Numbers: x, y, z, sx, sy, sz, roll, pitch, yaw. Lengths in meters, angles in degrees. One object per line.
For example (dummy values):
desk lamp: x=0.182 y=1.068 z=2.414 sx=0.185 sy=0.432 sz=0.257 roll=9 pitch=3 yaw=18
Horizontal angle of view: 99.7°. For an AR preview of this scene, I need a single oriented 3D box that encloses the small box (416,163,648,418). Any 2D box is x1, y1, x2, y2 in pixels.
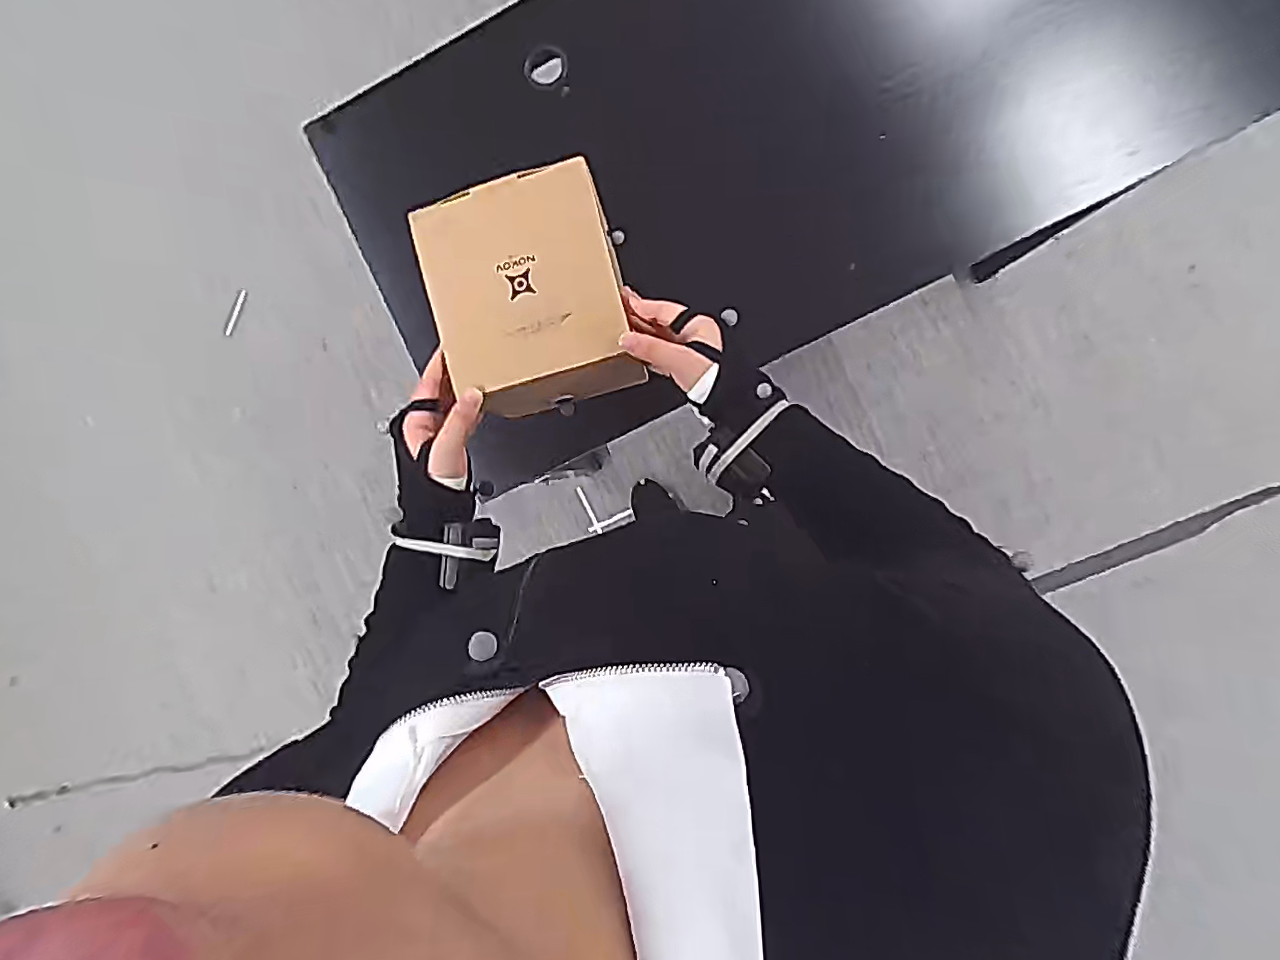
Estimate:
small box: x=-0.093 y=-0.171 z=0.548 sx=0.168 sy=0.176 sz=0.179 roll=-15 pitch=90 yaw=5
